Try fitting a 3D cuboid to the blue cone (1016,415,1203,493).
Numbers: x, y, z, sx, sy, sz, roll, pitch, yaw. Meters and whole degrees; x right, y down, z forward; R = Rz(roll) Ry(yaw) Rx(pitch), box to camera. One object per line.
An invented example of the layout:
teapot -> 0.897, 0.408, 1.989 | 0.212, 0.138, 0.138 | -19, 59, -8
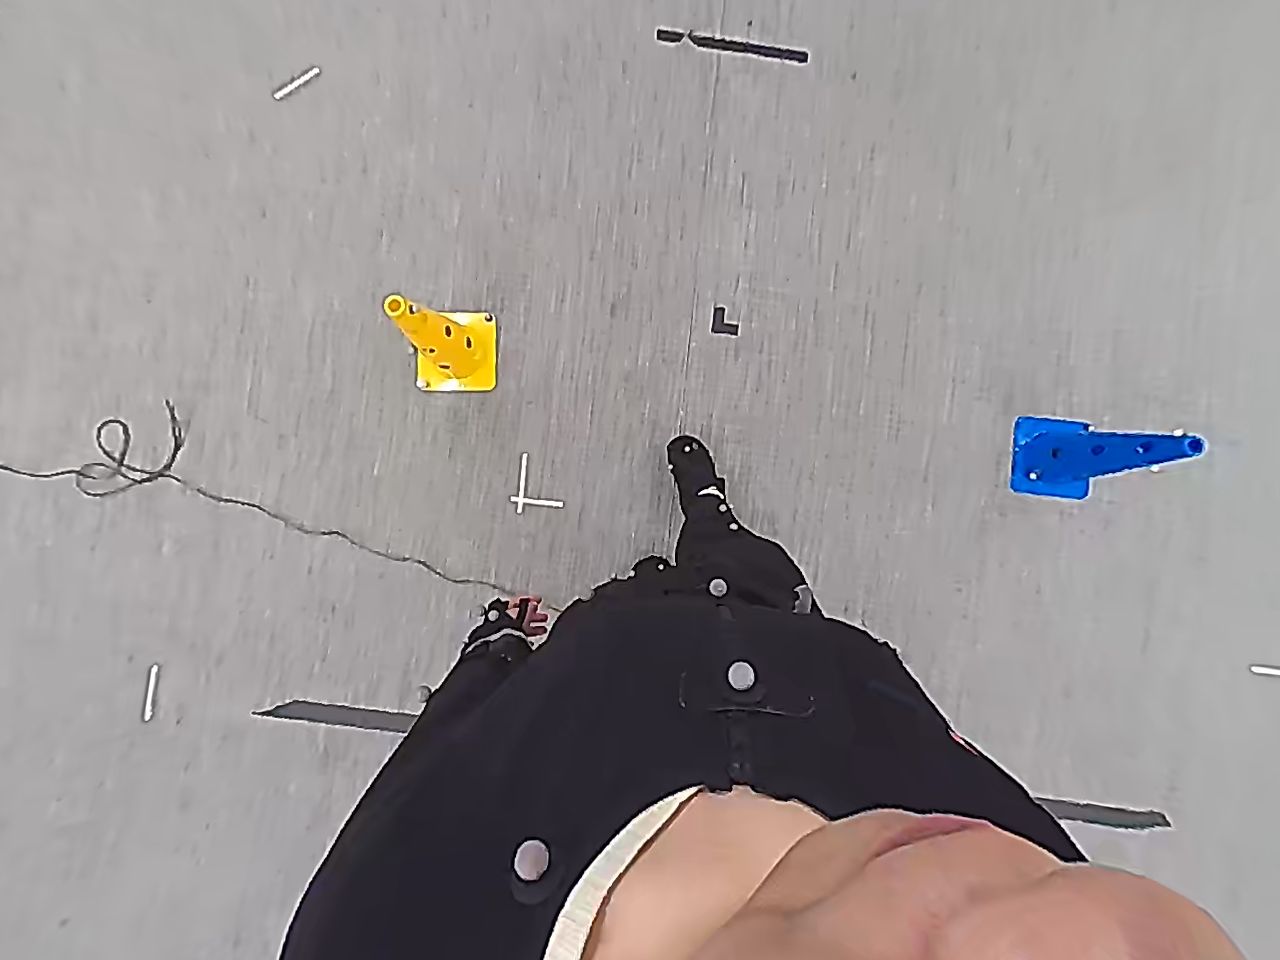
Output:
blue cone -> 1.049, -0.073, 1.208 | 0.193, 0.380, 0.192 | 7, 87, 0
